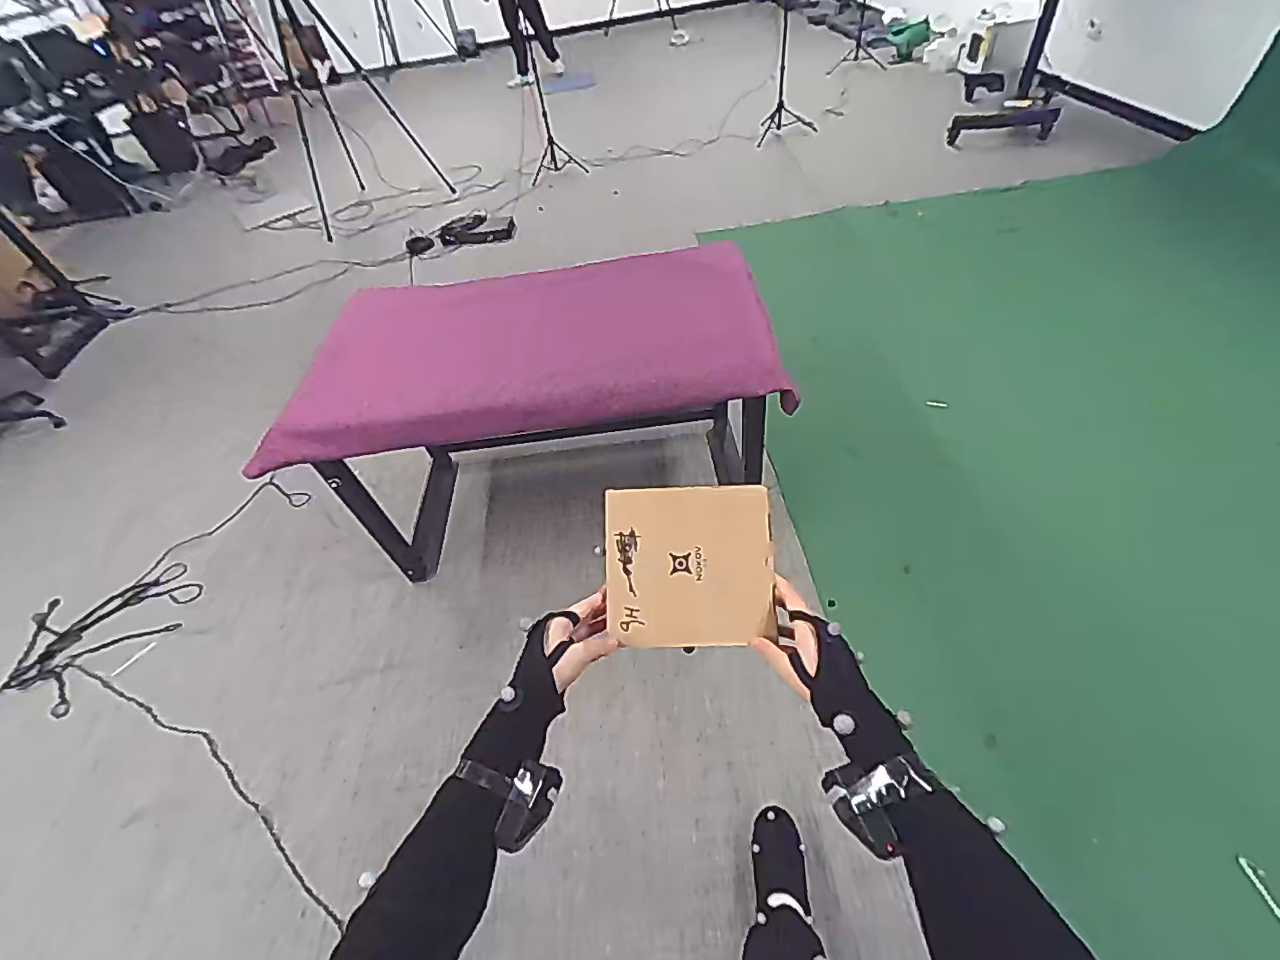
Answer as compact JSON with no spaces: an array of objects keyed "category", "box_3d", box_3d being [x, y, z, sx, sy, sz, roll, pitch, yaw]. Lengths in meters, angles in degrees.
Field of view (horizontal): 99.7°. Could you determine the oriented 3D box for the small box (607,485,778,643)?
[{"category":"small box","box_3d":[0.056,0.102,0.641,0.179,0.176,0.168,-2,77,3]}]
